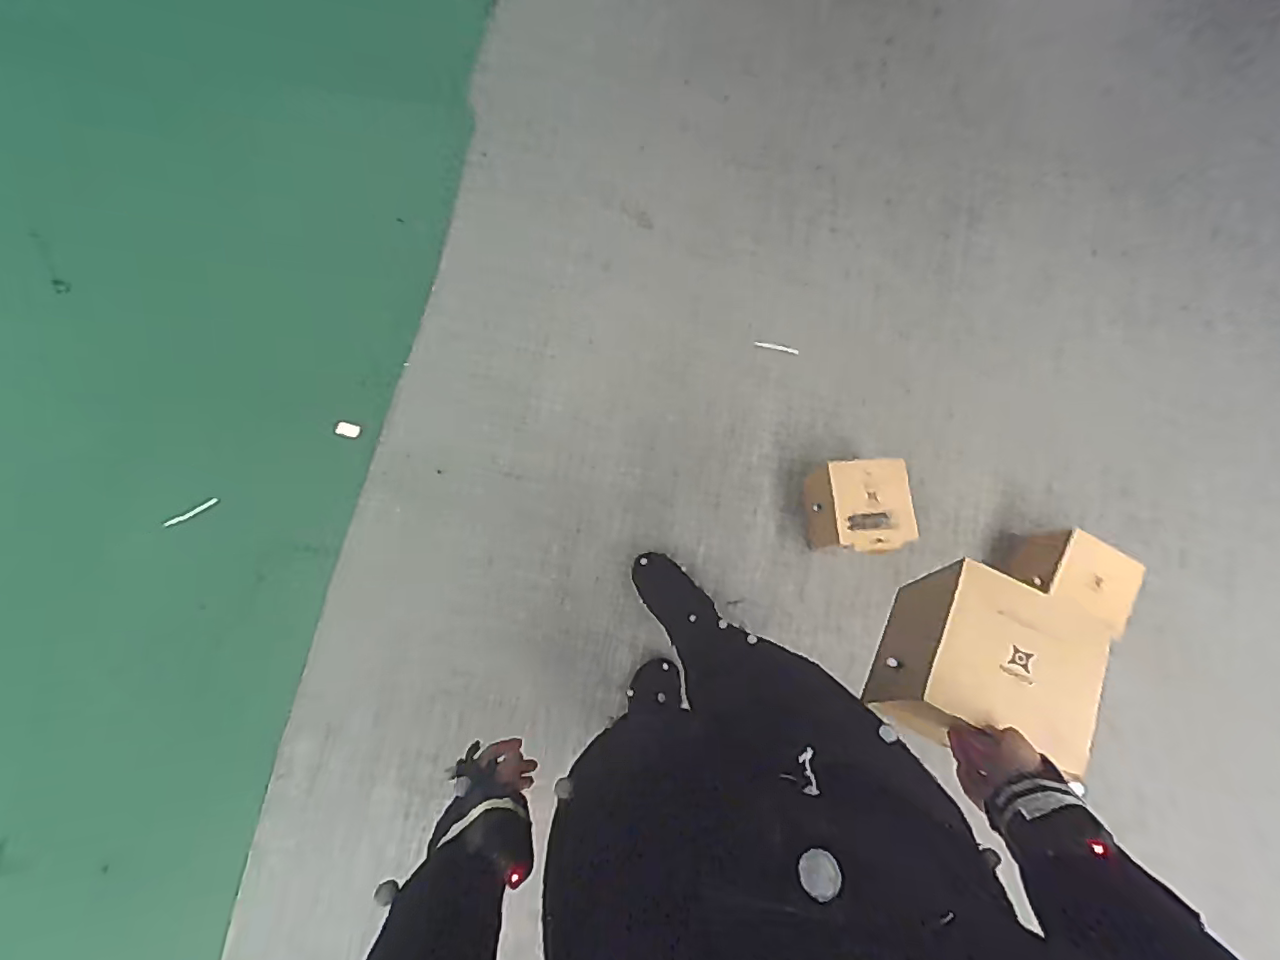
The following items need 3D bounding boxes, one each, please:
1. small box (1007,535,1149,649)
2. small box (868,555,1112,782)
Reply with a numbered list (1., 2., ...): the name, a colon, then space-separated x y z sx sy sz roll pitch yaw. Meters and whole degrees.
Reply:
1. small box: 0.926 0.239 1.172 0.168 0.176 0.179 30 79 3
2. small box: 0.393 0.220 0.636 0.168 0.176 0.179 26 68 9
